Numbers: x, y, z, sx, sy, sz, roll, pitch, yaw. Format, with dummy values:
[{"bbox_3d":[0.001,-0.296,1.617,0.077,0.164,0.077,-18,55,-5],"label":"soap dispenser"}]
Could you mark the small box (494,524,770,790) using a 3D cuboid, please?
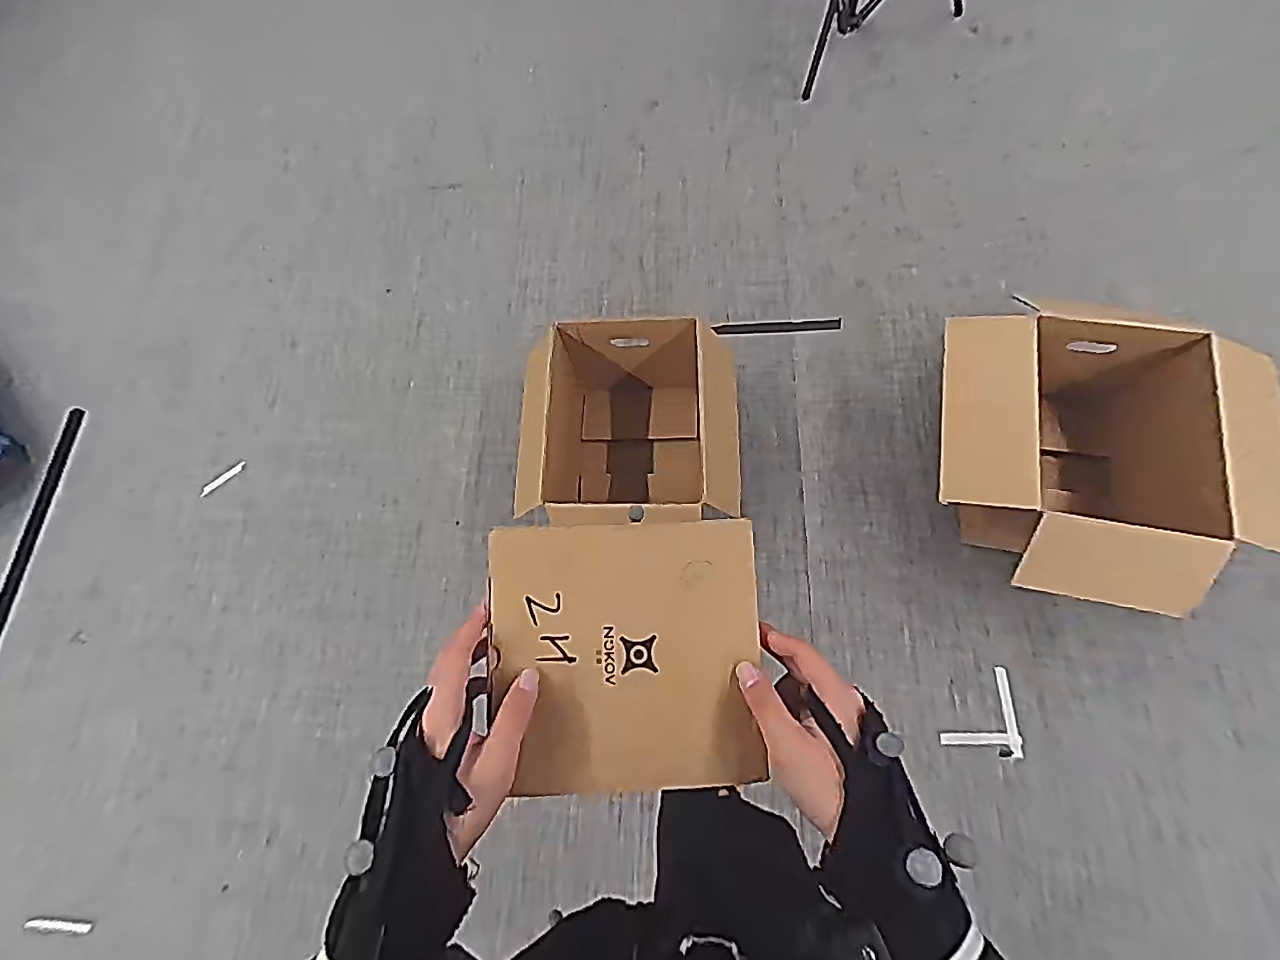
[{"bbox_3d":[-0.008,0.120,0.427,0.179,0.176,0.168,-1,82,-2],"label":"small box"}]
